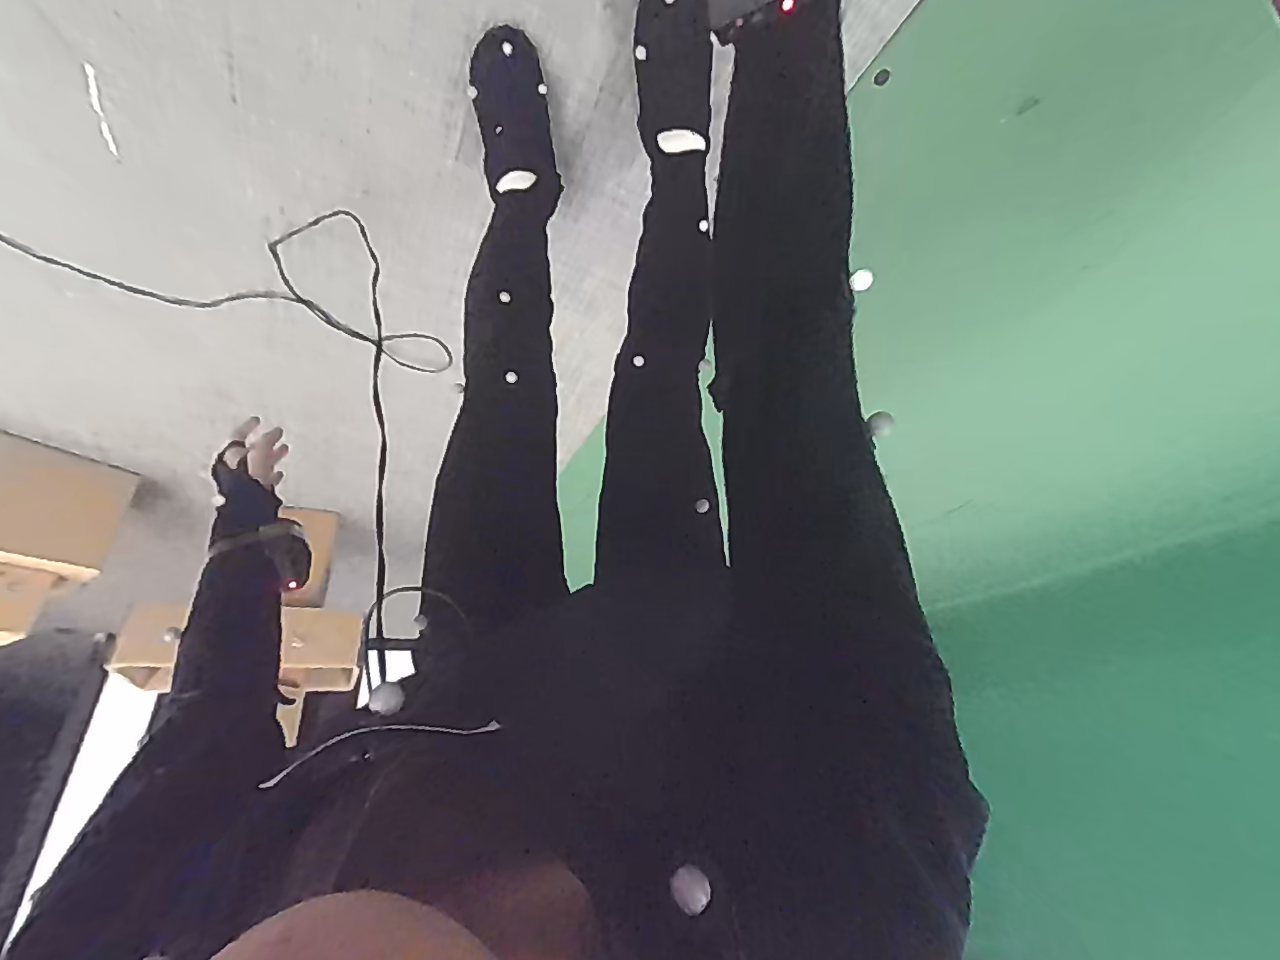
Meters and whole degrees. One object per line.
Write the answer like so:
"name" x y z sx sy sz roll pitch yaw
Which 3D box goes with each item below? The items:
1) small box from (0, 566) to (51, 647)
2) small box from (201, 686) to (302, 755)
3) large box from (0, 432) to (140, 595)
"small box" -1.690 0.322 1.392 0.179 0.176 0.168 -17 148 22
"small box" -1.180 0.739 1.656 0.179 0.176 0.168 -5 151 -1
"large box" -1.722 0.091 1.474 0.320 0.320 0.408 -20 146 25
